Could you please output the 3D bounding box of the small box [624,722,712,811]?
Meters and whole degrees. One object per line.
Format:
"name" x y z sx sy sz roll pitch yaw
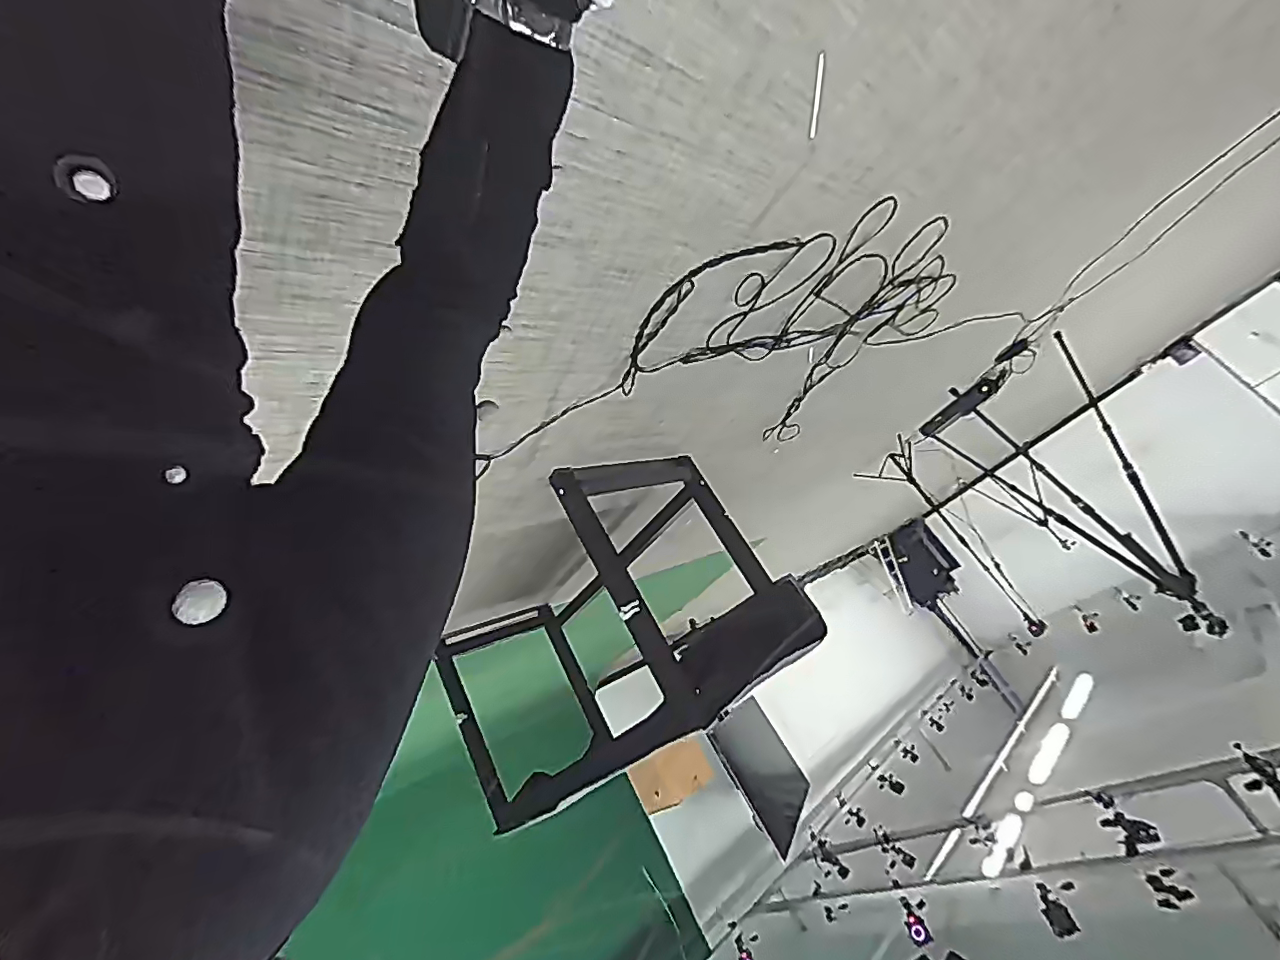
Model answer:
"small box" 0.078 0.858 1.636 0.168 0.176 0.179 -10 151 -43
